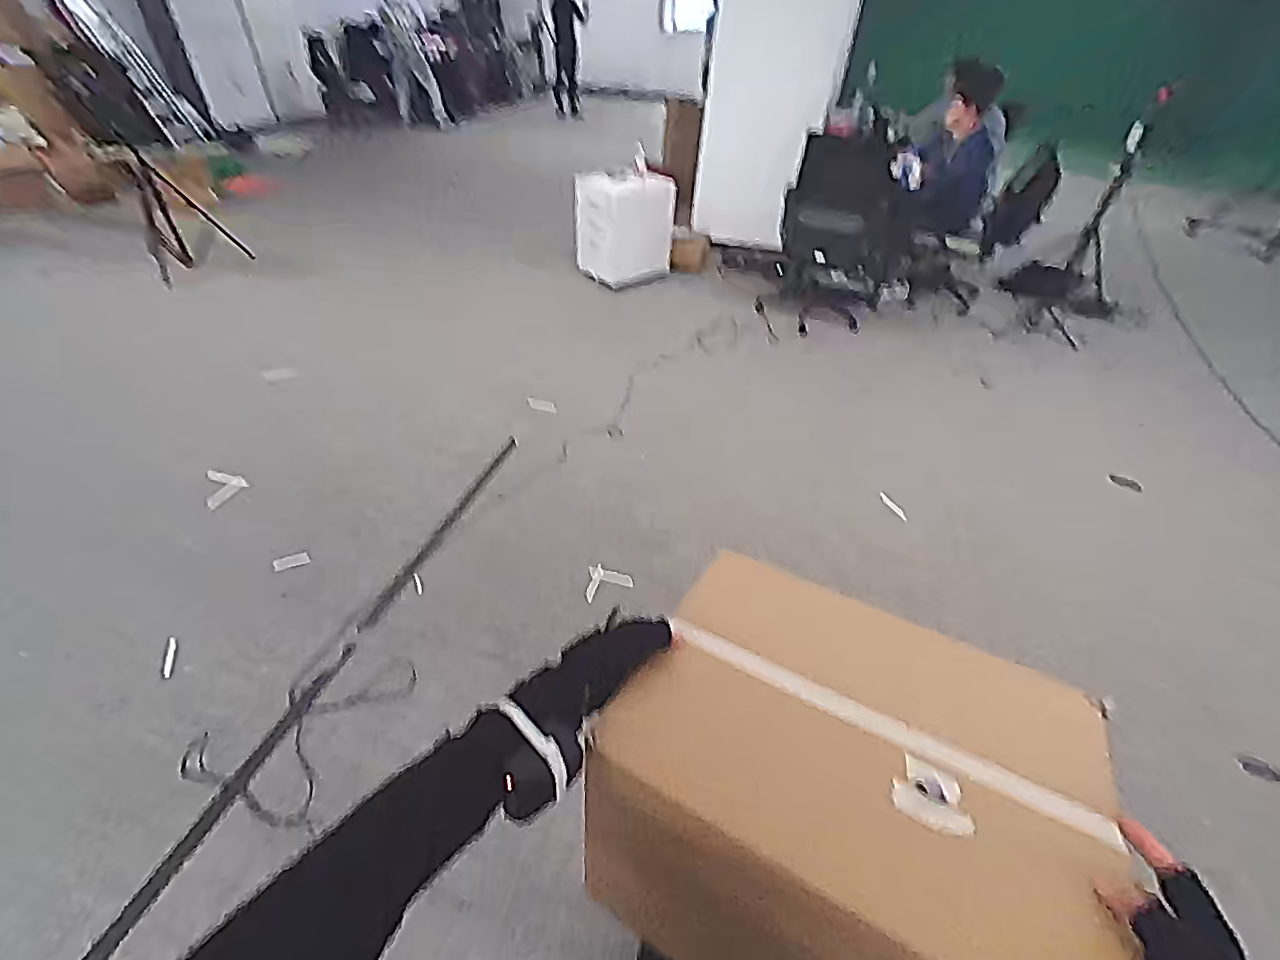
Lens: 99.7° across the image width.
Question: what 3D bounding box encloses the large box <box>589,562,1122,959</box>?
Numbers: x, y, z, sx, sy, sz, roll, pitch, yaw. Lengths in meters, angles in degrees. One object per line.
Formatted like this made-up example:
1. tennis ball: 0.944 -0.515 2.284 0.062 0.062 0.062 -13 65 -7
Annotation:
1. large box: 0.193 0.357 0.592 0.408 0.320 0.320 21 37 24
